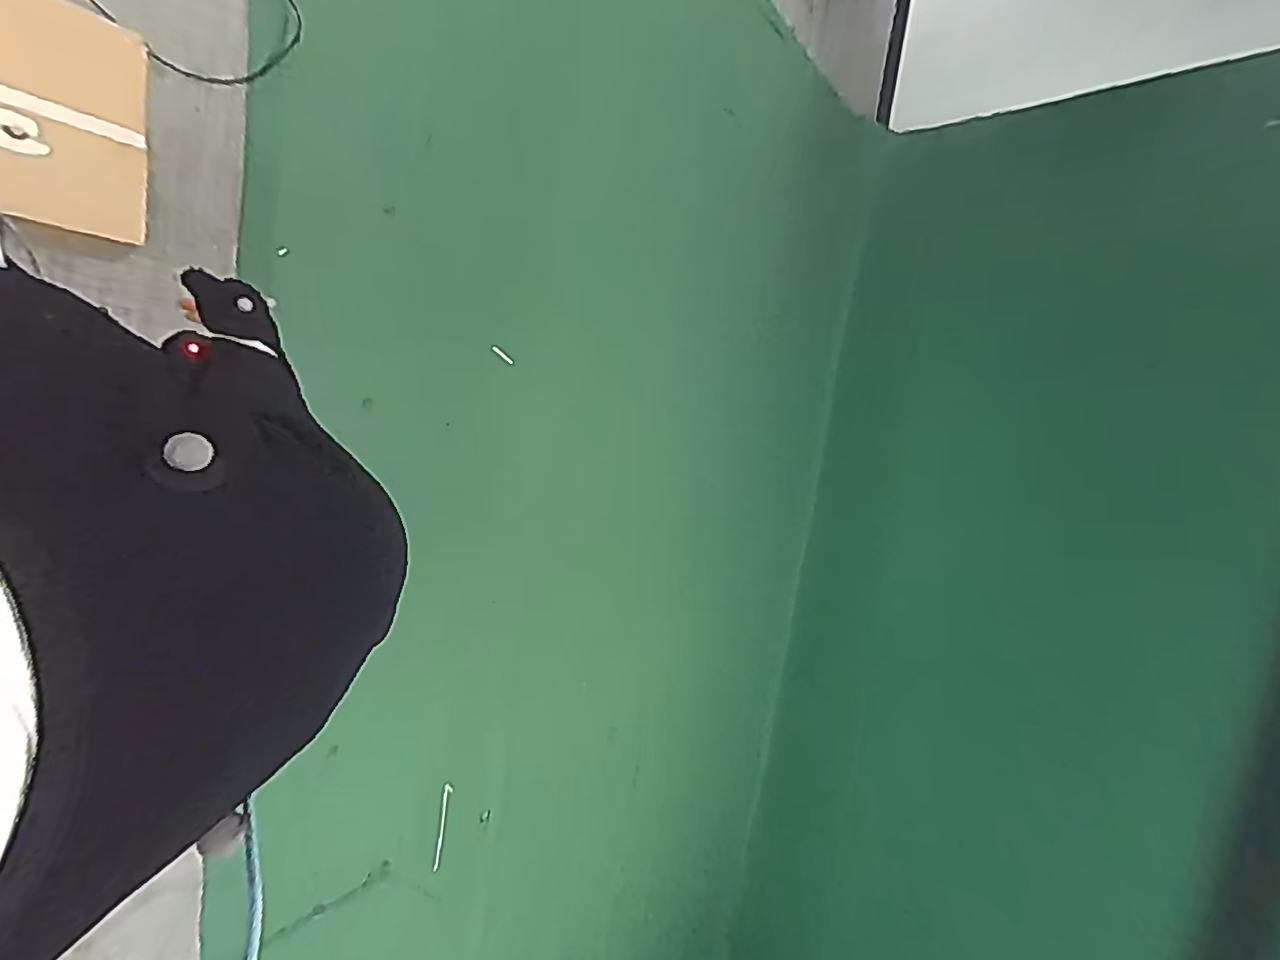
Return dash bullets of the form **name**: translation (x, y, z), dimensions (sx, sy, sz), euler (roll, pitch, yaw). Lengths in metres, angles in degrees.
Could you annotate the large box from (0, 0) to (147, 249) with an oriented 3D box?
- **large box**: translation (-1.017, -0.564, 0.789), dimensions (0.408, 0.320, 0.320), euler (-1, 102, -50)
